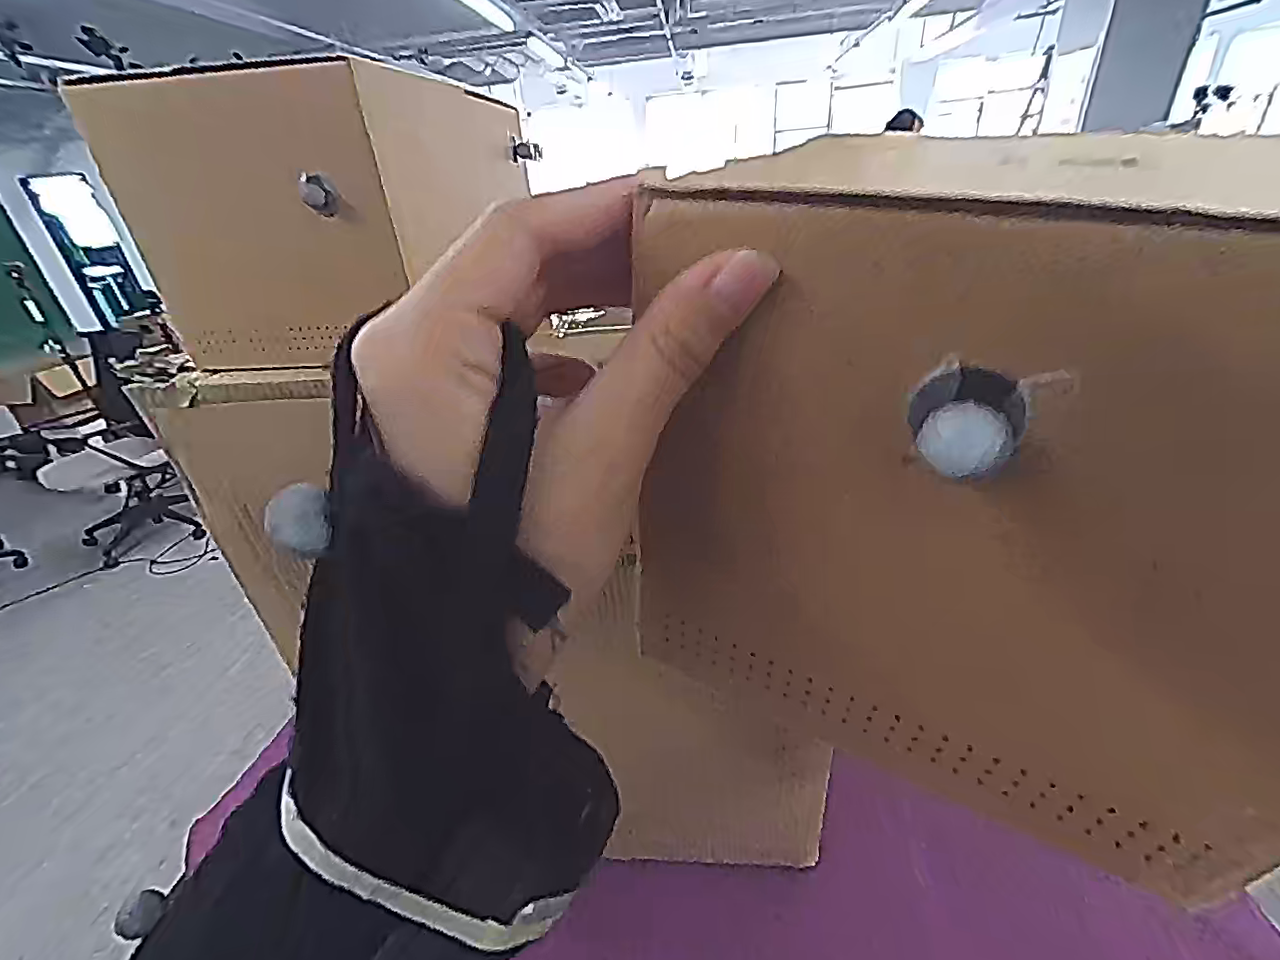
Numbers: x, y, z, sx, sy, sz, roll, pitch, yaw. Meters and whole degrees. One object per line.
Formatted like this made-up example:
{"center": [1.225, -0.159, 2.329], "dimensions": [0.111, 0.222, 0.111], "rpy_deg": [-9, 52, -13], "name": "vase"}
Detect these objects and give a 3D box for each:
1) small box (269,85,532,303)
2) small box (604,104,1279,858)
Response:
{"center": [-0.217, -0.282, 0.551], "dimensions": [0.168, 0.176, 0.179], "rpy_deg": [-1, 29, 7], "name": "small box"}
{"center": [0.108, -0.018, 0.181], "dimensions": [0.179, 0.176, 0.168], "rpy_deg": [17, 39, 25], "name": "small box"}
